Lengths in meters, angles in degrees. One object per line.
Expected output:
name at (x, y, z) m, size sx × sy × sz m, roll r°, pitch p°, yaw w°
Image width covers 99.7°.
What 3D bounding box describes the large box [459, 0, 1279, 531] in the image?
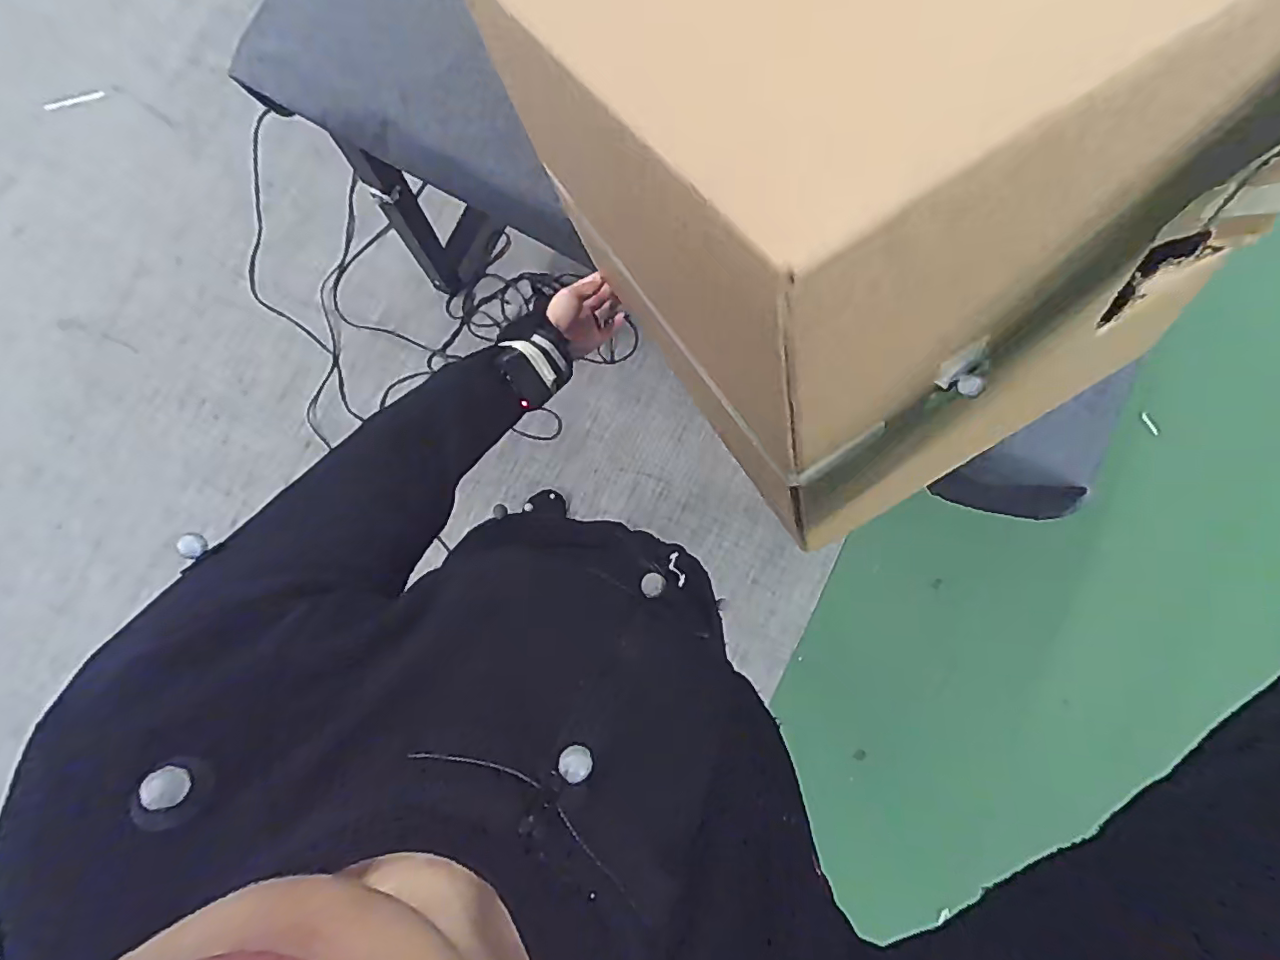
large box at (0.129, -0.235, 0.393) m, size 0.320 × 0.320 × 0.408 m, roll -34°, pitch 61°, yaw 2°
